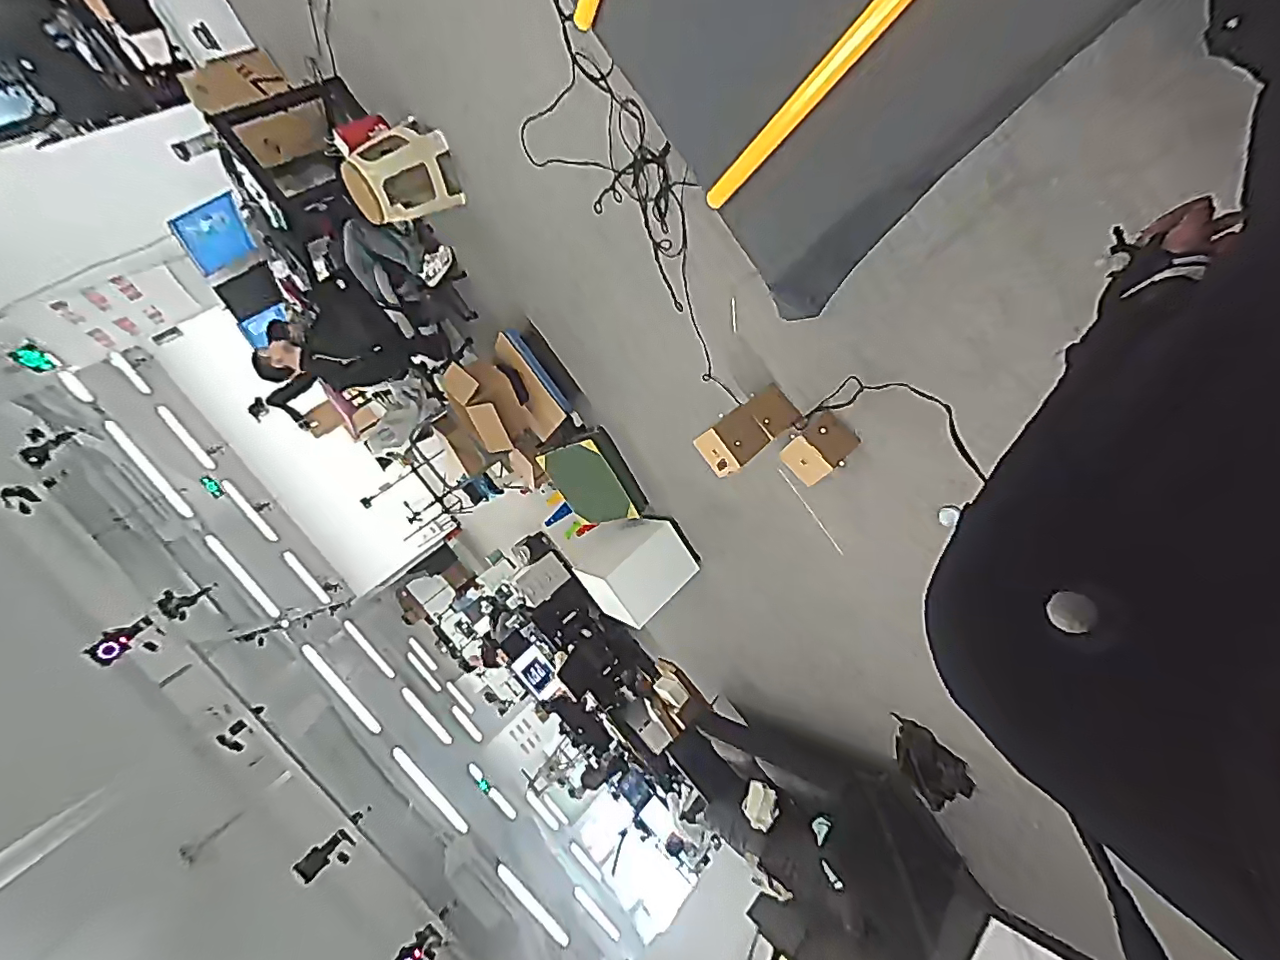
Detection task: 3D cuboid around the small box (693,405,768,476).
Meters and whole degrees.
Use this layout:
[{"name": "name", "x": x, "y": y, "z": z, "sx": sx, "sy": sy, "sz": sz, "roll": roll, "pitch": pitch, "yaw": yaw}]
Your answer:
[{"name": "small box", "x": 0.334, "y": -0.143, "z": 1.973, "sx": 0.179, "sy": 0.176, "sz": 0.168, "roll": 52, "pitch": 156, "yaw": -2}]

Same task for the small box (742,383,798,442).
[{"name": "small box", "x": 0.459, "y": -0.232, "z": 2.034, "sx": 0.168, "sy": 0.176, "sz": 0.179, "roll": 50, "pitch": 157, "yaw": 3}]

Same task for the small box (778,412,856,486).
[{"name": "small box", "x": 0.631, "y": -0.112, "z": 1.912, "sx": 0.168, "sy": 0.176, "sz": 0.179, "roll": 48, "pitch": 157, "yaw": 8}]
